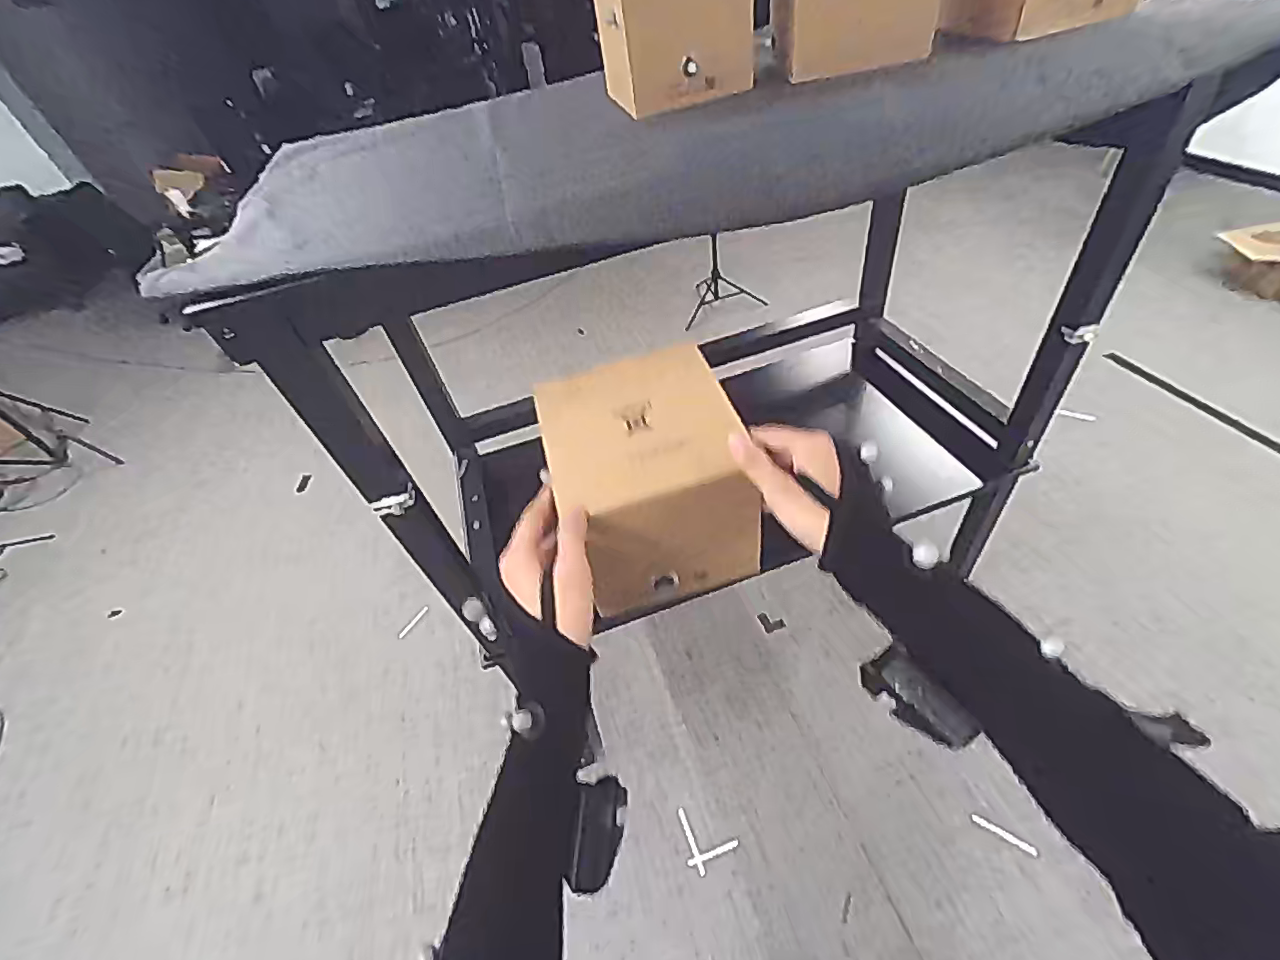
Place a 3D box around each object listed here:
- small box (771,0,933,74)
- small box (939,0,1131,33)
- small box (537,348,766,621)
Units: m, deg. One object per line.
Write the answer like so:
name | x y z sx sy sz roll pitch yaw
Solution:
small box | 0.267 -0.644 0.691 0.179 0.176 0.168 -7 46 5
small box | 0.514 -0.688 0.680 0.168 0.176 0.179 -15 46 -2
small box | 0.009 0.005 0.524 0.168 0.176 0.179 -17 48 -3
